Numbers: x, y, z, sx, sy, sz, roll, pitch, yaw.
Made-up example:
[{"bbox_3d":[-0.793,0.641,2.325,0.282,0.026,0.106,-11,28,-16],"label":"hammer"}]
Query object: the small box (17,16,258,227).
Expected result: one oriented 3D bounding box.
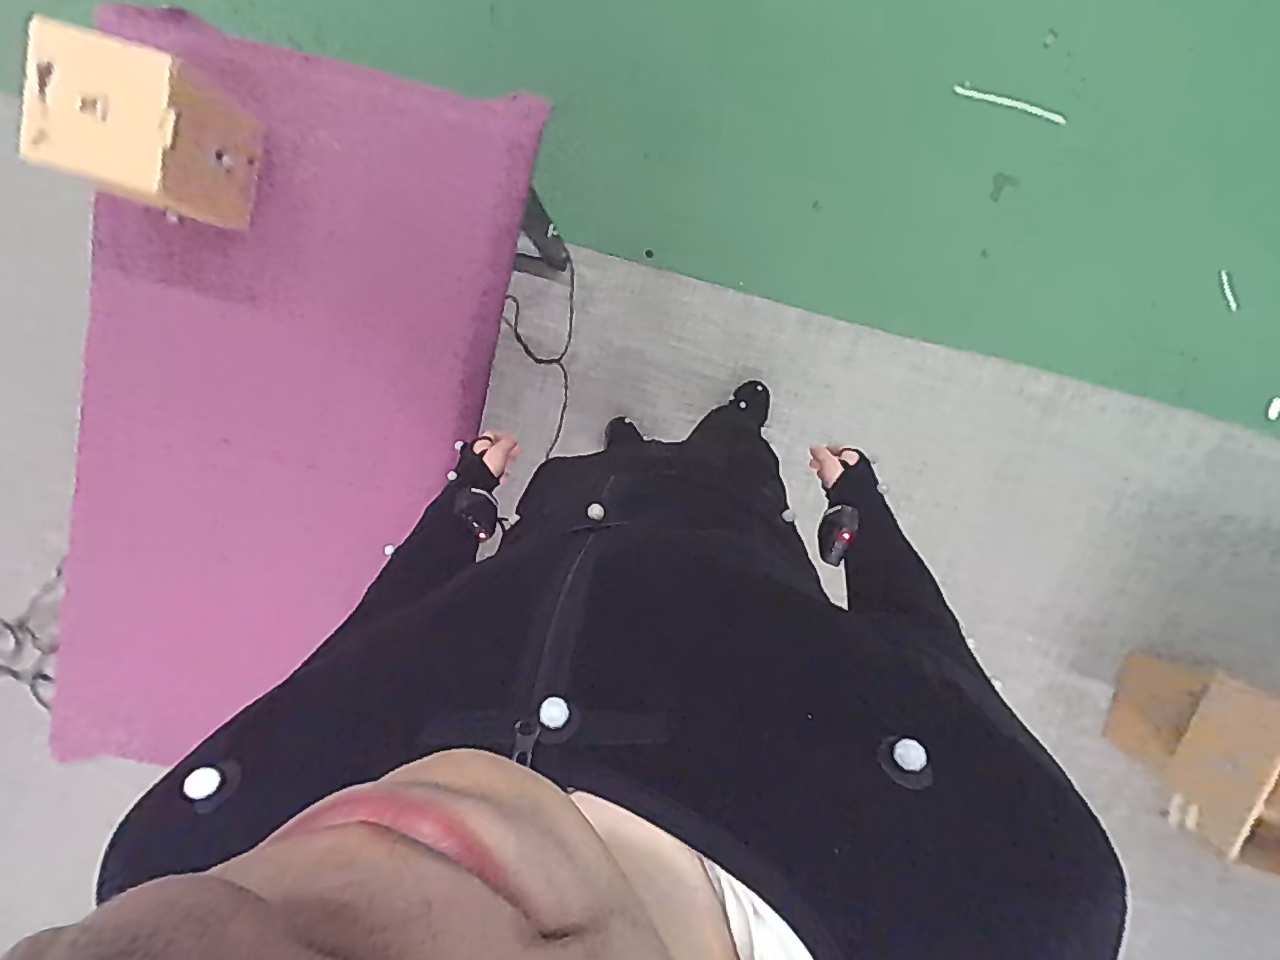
[{"bbox_3d":[-0.673,-0.472,0.746,0.179,0.176,0.168,15,98,-4],"label":"small box"}]
